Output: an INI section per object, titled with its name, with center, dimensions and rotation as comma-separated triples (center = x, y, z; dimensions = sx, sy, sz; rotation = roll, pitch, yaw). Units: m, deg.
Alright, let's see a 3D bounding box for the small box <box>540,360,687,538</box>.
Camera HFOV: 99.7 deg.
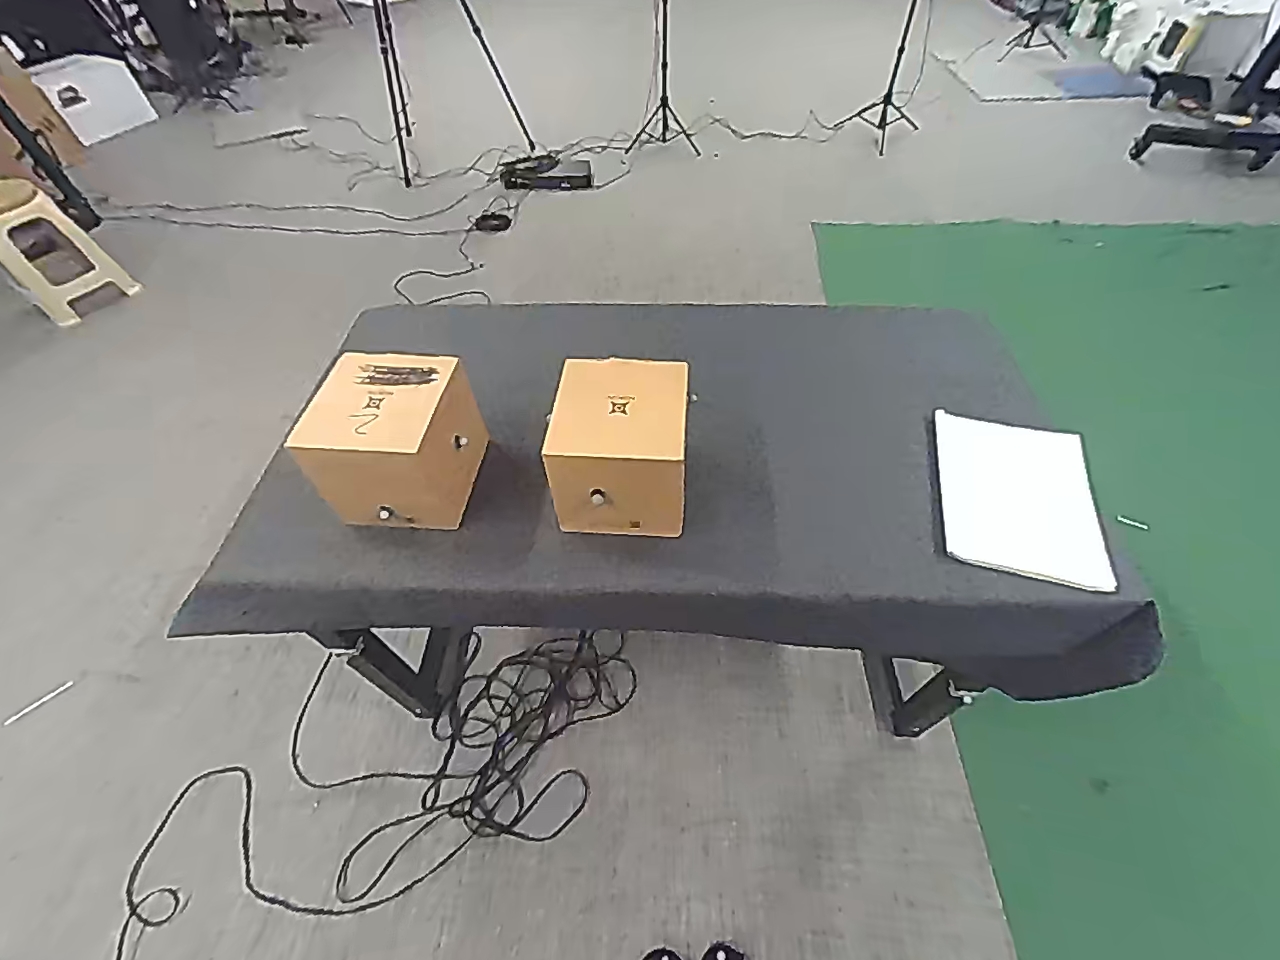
[small box]
center = -0.023, -0.039, 0.721
dimensions = 0.168, 0.176, 0.179
rotation = 2, 51, 5
